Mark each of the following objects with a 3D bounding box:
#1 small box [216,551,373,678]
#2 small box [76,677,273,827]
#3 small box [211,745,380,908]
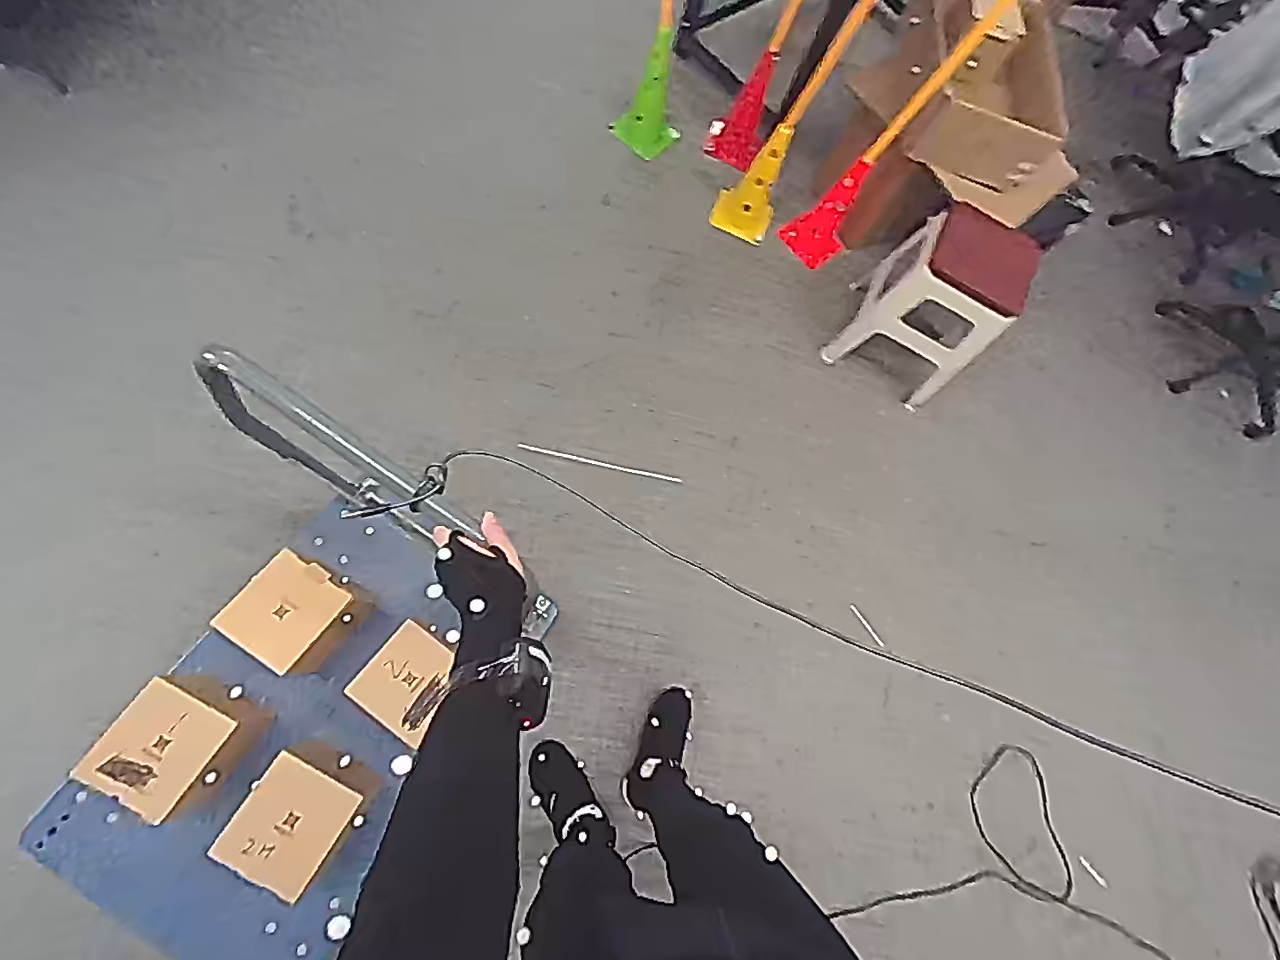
[{"bbox_3d":[-0.669,0.271,1.076,0.168,0.176,0.179,36,68,1],"label":"small box"},{"bbox_3d":[-0.815,0.476,0.973,0.168,0.176,0.179,32,67,-1],"label":"small box"},{"bbox_3d":[-0.600,0.607,0.976,0.168,0.176,0.179,31,68,0],"label":"small box"}]
